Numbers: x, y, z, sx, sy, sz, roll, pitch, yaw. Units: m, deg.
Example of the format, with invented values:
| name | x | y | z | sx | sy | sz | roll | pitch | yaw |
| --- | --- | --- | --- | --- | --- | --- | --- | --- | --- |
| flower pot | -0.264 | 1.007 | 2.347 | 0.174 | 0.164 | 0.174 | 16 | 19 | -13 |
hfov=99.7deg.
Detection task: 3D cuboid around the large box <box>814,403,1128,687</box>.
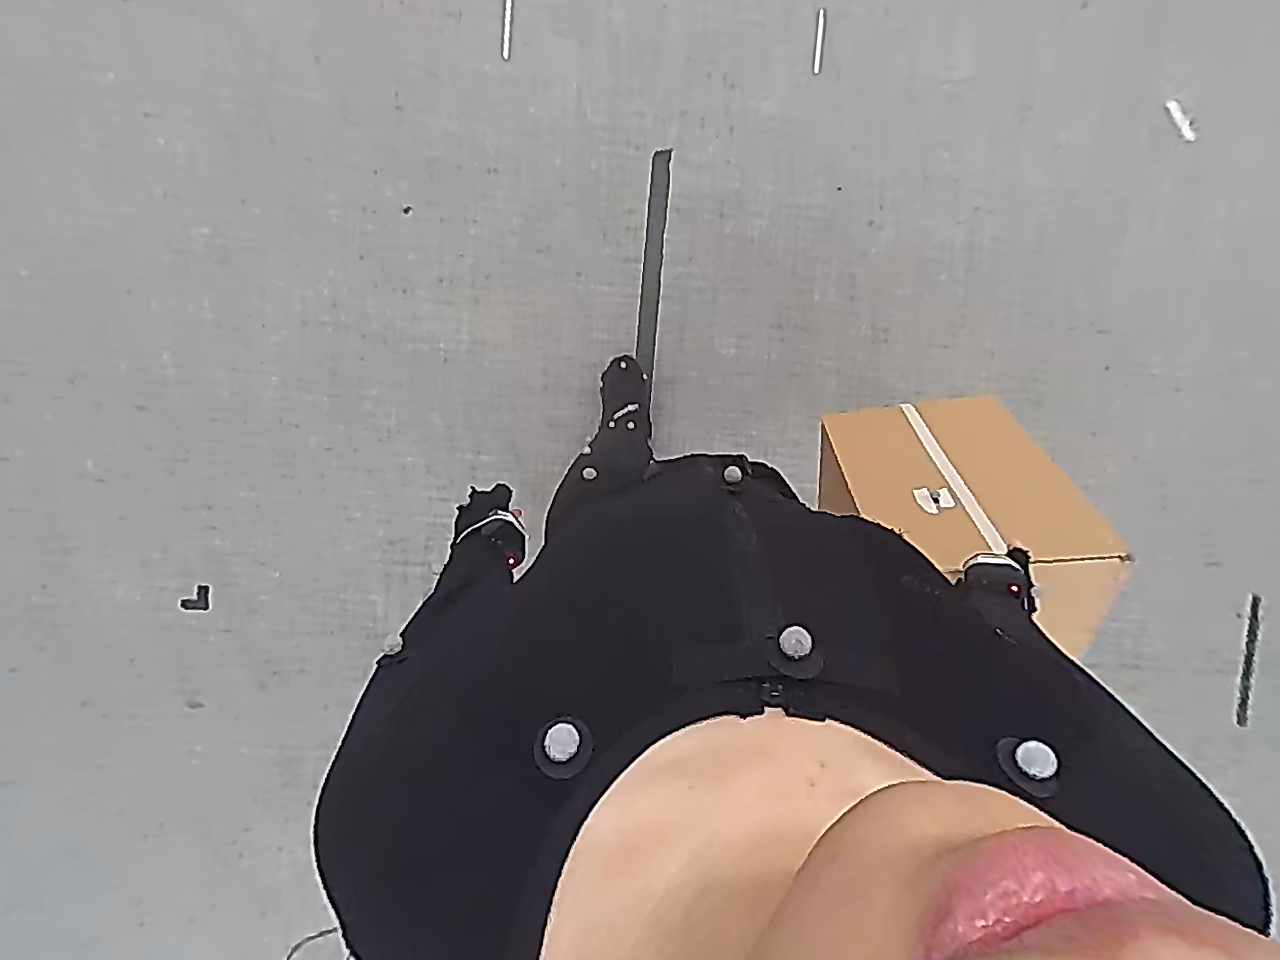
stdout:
| name | x | y | z | sx | sy | sz | roll | pitch | yaw |
| --- | --- | --- | --- | --- | --- | --- | --- | --- | --- |
| large box | 0.522 | 0.107 | 0.976 | 0.320 | 0.408 | 0.320 | -6 | 129 | 7 |
